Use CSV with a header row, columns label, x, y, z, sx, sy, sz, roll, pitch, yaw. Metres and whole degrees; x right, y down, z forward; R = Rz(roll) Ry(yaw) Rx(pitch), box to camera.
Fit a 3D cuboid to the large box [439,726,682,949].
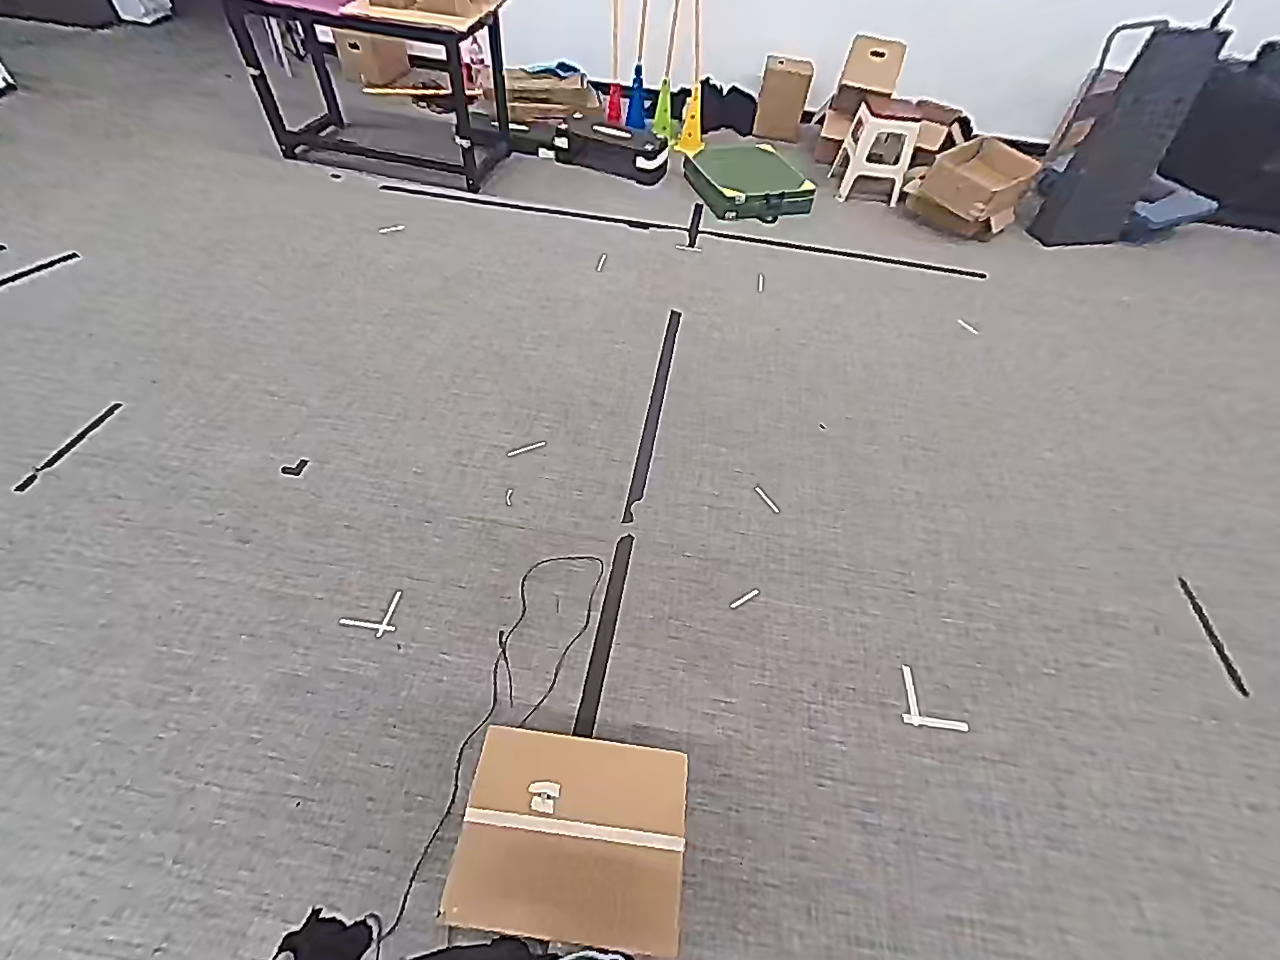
label,x,y,z,sx,sy,sz,roll,pitch,yaw
large box,-0.133,0.727,1.110,0.408,0.320,0.320,7,51,1
